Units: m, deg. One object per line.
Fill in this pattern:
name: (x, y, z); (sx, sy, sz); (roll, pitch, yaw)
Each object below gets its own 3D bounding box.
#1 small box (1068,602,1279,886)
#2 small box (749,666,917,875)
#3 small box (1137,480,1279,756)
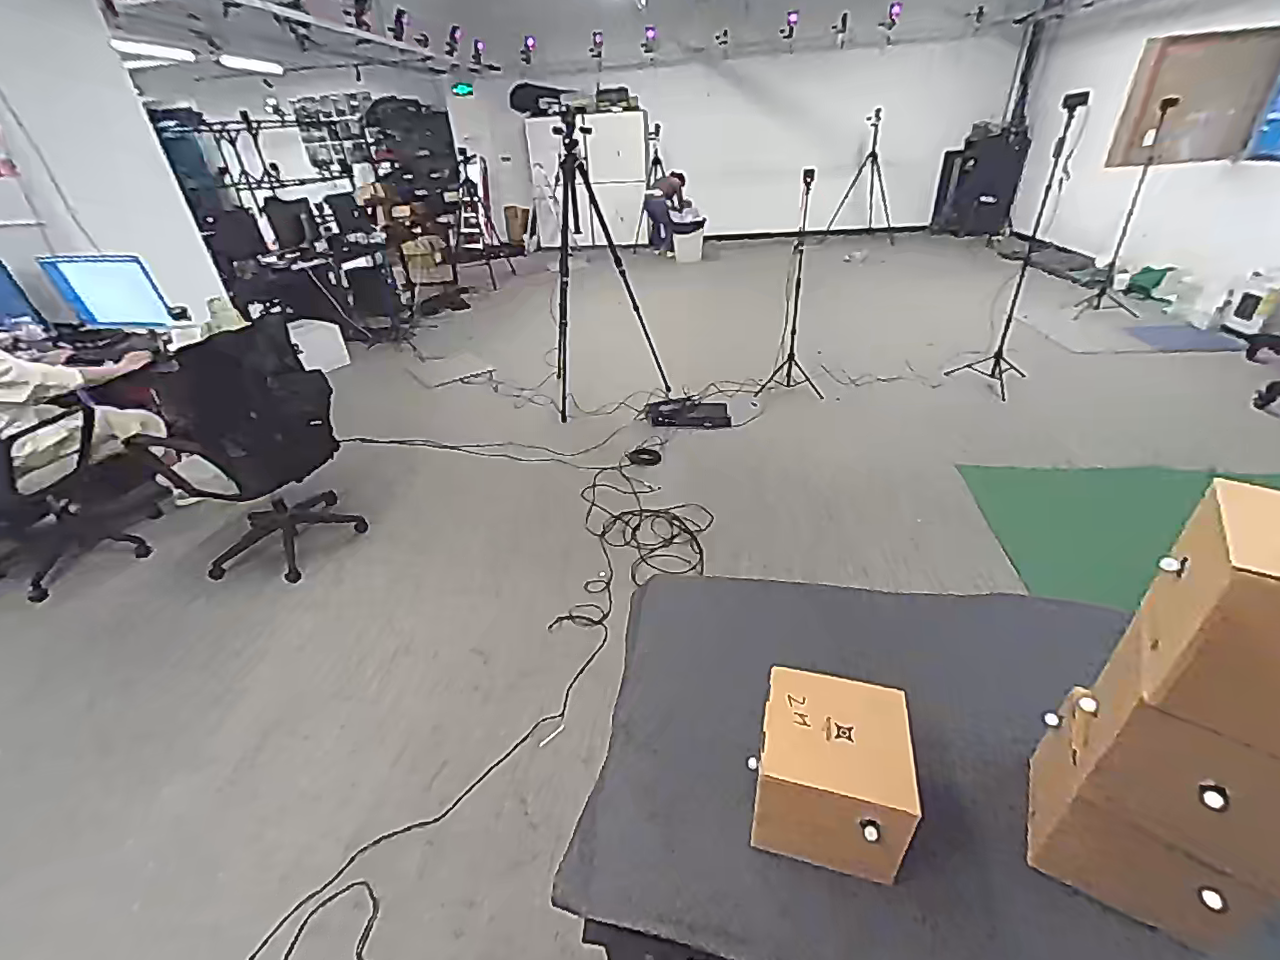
small box: (0.583, 0.265, 0.552); (0.179, 0.176, 0.168); (21, 39, 35)
small box: (0.246, 0.381, 0.714); (0.179, 0.176, 0.168); (6, 32, 16)
small box: (0.571, 0.127, 0.467); (0.179, 0.176, 0.168); (21, 38, 32)
